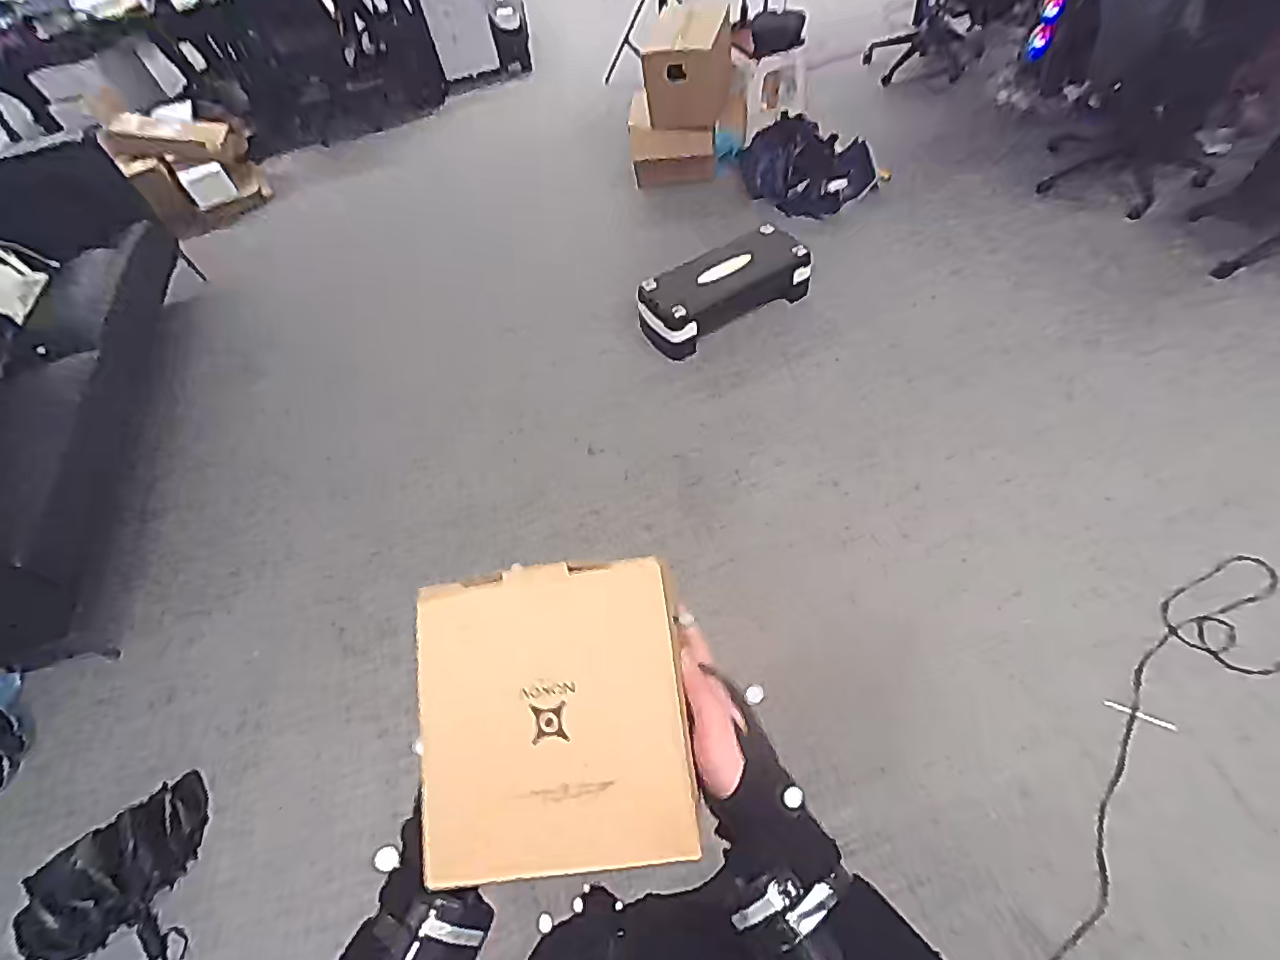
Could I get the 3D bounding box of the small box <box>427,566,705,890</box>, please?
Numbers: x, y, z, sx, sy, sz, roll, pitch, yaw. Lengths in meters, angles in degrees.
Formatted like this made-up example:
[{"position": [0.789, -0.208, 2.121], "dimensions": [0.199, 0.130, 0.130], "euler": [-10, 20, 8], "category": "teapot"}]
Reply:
[{"position": [-0.047, 0.171, 0.418], "dimensions": [0.168, 0.176, 0.179], "euler": [-9, 76, 3], "category": "small box"}]
